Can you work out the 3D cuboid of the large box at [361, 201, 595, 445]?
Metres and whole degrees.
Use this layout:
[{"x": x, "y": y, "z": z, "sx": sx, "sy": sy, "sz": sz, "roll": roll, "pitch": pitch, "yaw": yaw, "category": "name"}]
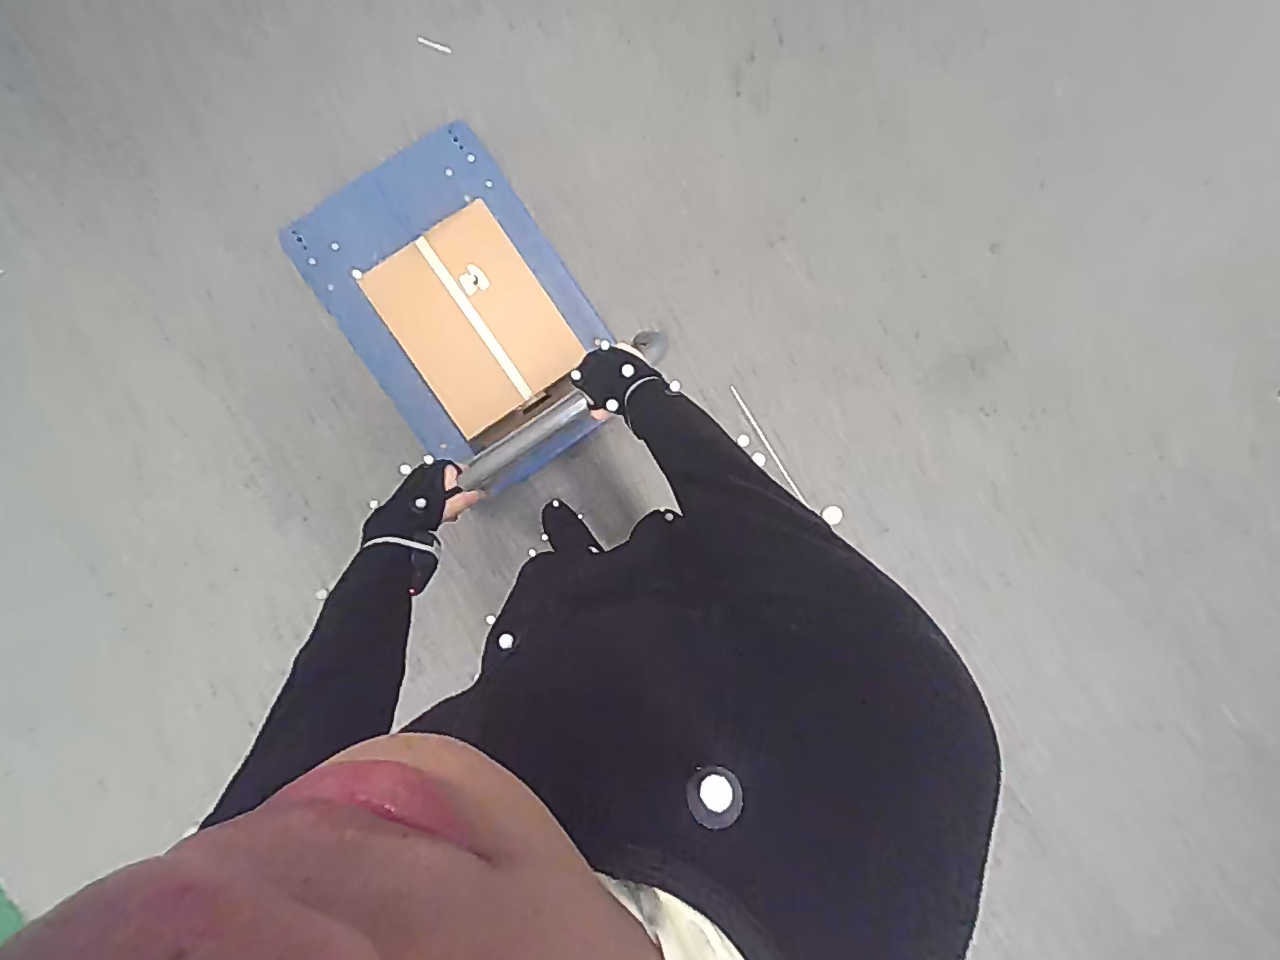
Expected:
[{"x": -0.346, "y": -0.336, "z": 1.273, "sx": 0.320, "sy": 0.320, "sz": 0.408, "roll": -35, "pitch": 92, "yaw": -3, "category": "large box"}]
